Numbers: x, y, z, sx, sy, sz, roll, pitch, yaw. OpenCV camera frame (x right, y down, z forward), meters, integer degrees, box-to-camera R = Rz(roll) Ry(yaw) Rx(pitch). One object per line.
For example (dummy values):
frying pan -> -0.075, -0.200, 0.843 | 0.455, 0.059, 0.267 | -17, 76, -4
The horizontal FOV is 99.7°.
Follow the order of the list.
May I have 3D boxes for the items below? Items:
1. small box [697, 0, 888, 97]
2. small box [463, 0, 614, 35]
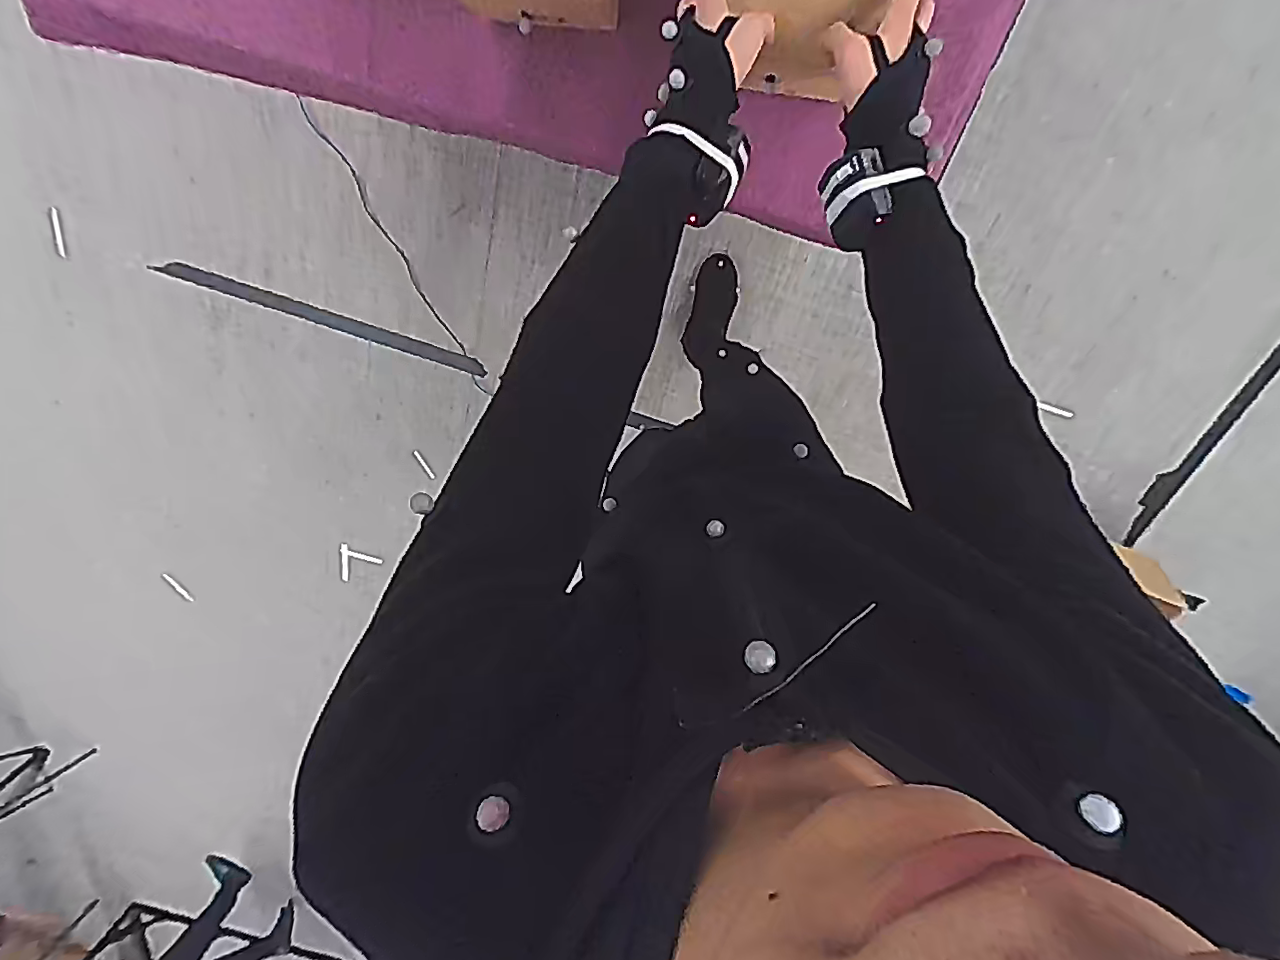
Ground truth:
small box -> 0.155, -0.504, 0.535 | 0.168, 0.176, 0.179 | 10, 117, 2
small box -> -0.114, -0.580, 0.534 | 0.168, 0.176, 0.179 | 8, 117, 4
